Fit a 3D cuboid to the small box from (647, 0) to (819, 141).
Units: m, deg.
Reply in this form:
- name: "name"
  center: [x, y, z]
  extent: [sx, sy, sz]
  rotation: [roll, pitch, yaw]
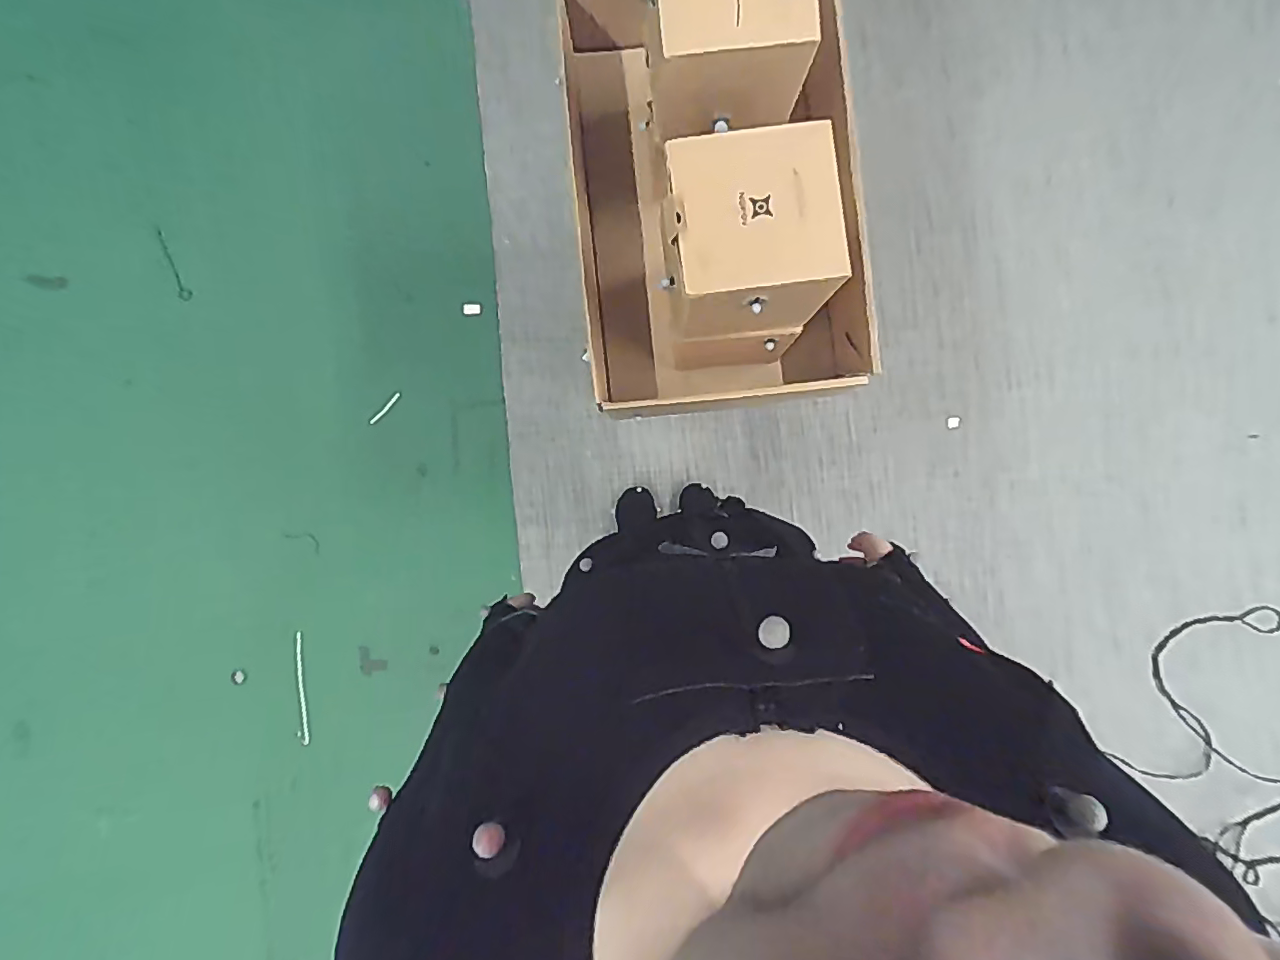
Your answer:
- name: "small box"
  center: [0.096, -0.533, 0.633]
  extent: [0.168, 0.176, 0.179]
  rotation: [-5, 92, 1]

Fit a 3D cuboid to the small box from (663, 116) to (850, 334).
- name: "small box"
  center: [0.122, -0.281, 0.636]
  extent: [0.179, 0.176, 0.168]
  rotation: [-8, 90, 0]

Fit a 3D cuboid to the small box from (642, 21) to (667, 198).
- name: "small box"
  center: [0.098, -0.540, 0.798]
  extent: [0.179, 0.176, 0.168]
  rotation: [-5, 92, 2]
